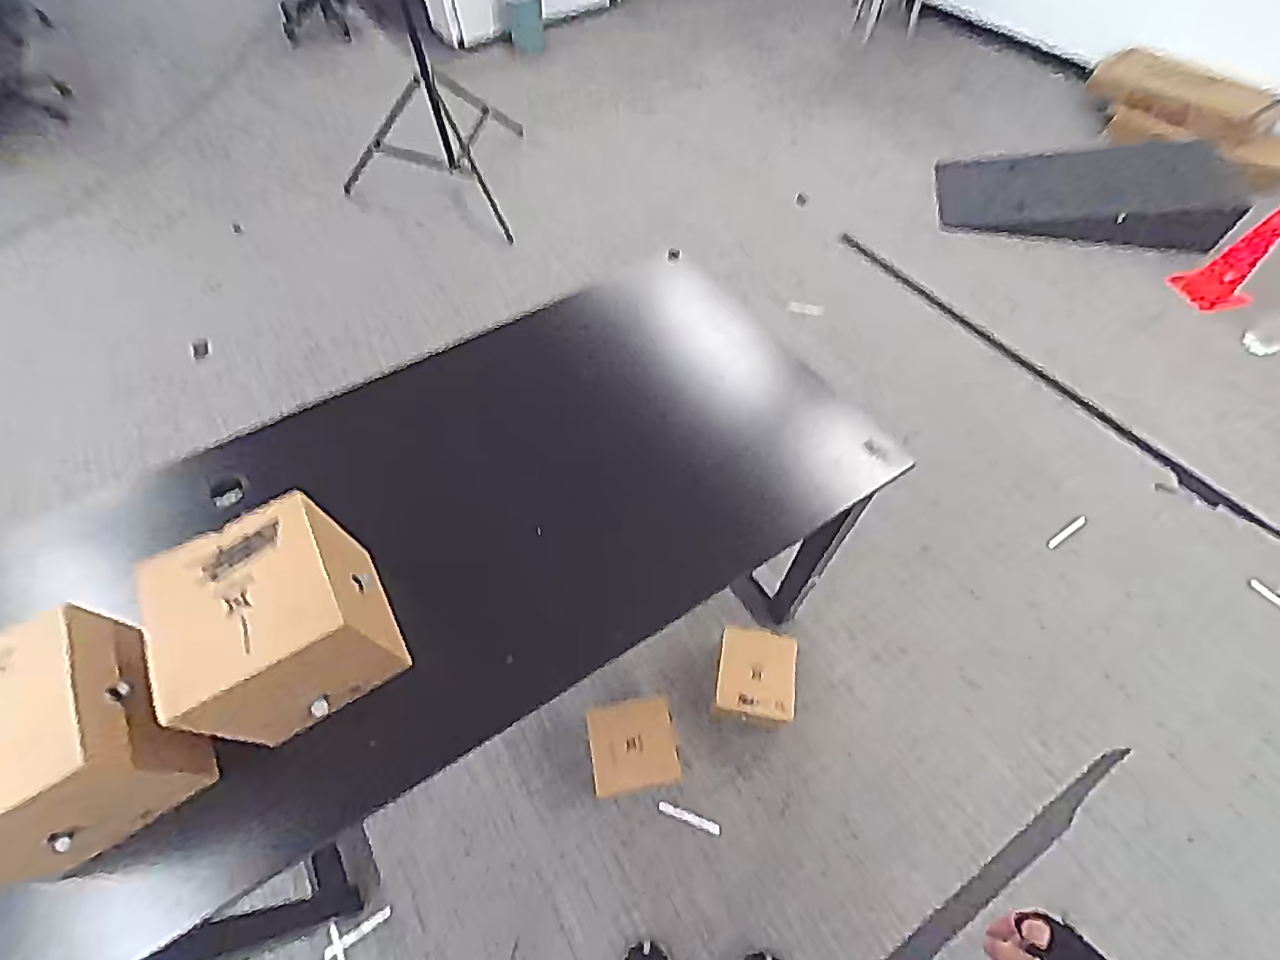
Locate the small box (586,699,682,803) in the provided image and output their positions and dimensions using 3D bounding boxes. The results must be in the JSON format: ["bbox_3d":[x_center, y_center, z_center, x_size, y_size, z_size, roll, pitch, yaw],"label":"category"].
[{"bbox_3d":[-0.013,0.591,1.176,0.179,0.176,0.168,-11,58,-4],"label":"small box"}]

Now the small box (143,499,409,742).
[{"bbox_3d":[-0.387,0.160,0.597,0.168,0.176,0.179,-29,62,-15],"label":"small box"}]

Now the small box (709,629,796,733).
[{"bbox_3d":[0.255,0.465,1.243,0.168,0.176,0.179,8,59,7],"label":"small box"}]
